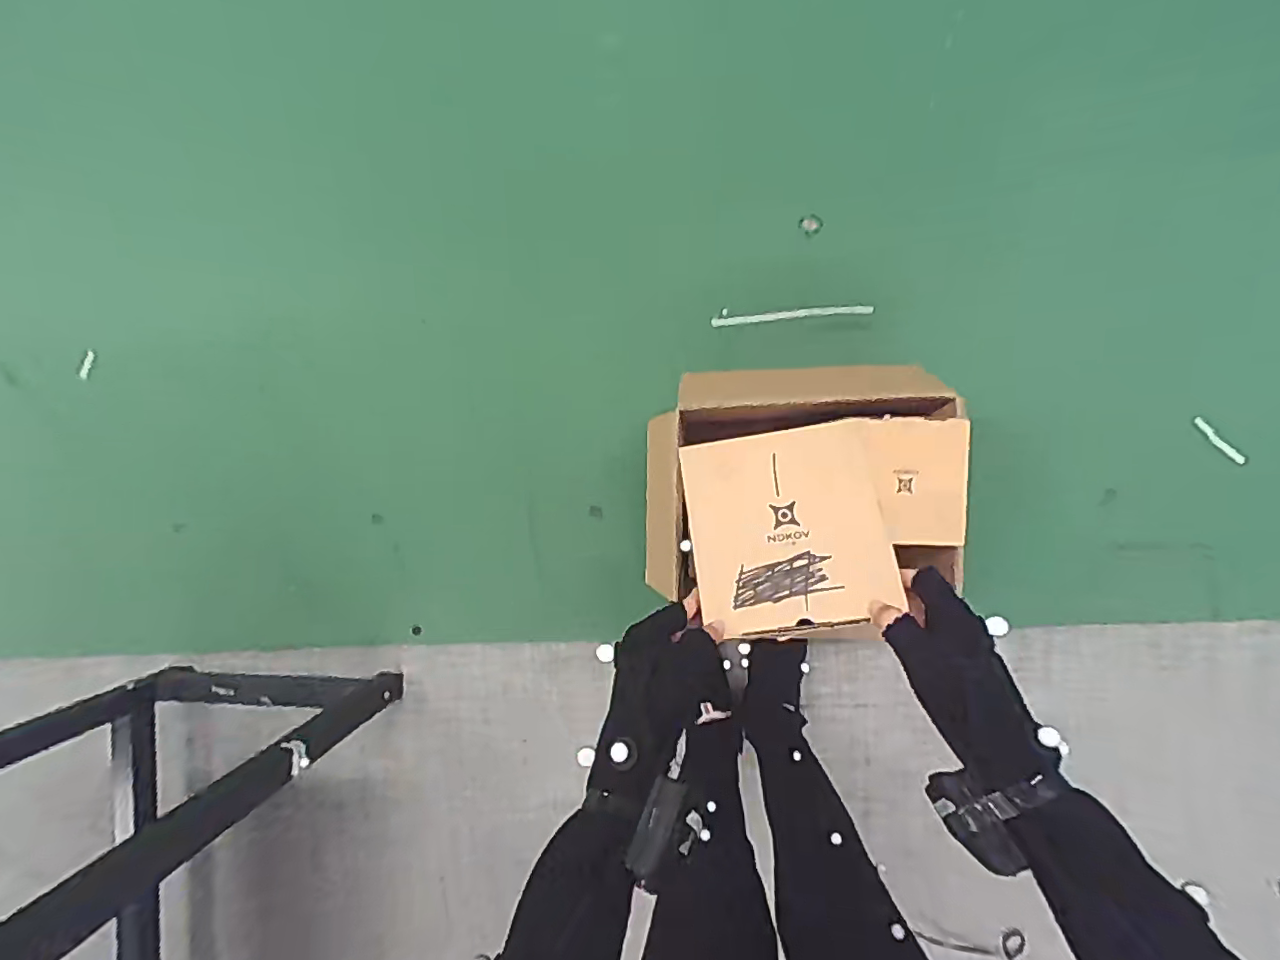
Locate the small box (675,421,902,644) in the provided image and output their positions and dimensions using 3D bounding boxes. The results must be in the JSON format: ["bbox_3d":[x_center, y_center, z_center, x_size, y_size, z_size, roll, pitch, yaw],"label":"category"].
[{"bbox_3d":[0.135,0.064,0.537,0.168,0.176,0.179,-9,71,7],"label":"small box"}]

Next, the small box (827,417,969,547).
[{"bbox_3d":[0.367,0.000,0.816,0.168,0.176,0.179,1,91,5],"label":"small box"}]
